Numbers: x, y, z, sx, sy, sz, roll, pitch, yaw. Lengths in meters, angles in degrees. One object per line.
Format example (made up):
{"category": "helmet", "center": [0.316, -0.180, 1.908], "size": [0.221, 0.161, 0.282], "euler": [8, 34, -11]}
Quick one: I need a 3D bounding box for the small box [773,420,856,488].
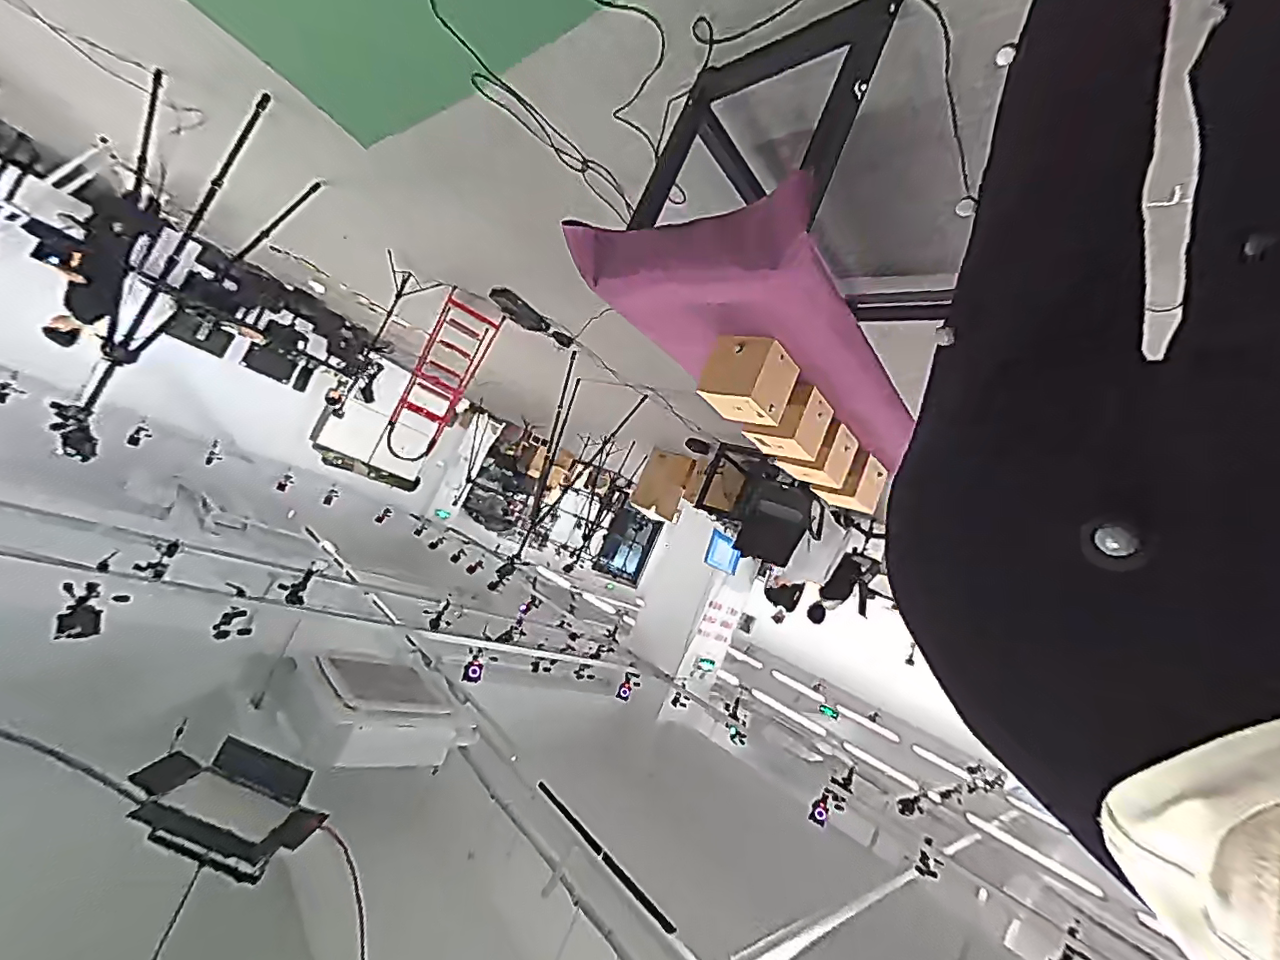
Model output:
{"category": "small box", "center": [0.571, -0.097, 1.761], "size": [0.179, 0.176, 0.168], "euler": [17, 171, 44]}

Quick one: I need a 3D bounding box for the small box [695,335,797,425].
{"category": "small box", "center": [0.281, -0.266, 1.418], "size": [0.179, 0.176, 0.168], "euler": [18, 172, 43]}

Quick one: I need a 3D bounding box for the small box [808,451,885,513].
{"category": "small box", "center": [0.737, -0.005, 1.922], "size": [0.168, 0.176, 0.179], "euler": [28, 171, -41]}

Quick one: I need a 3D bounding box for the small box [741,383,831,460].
{"category": "small box", "center": [0.431, -0.179, 1.591], "size": [0.179, 0.176, 0.168], "euler": [16, 171, 42]}
